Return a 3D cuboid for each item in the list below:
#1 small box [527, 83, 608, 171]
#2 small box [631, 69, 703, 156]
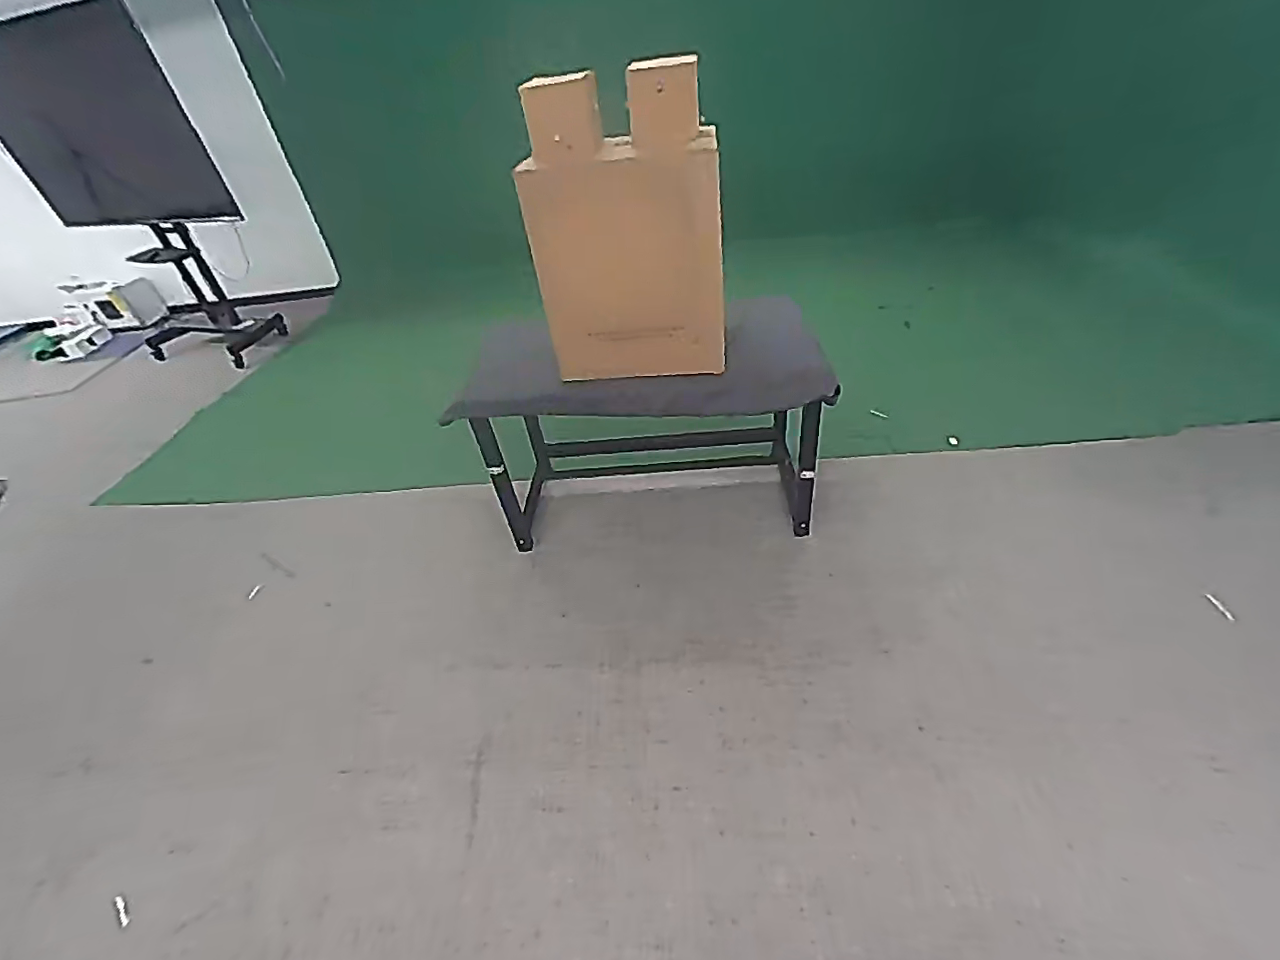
[{"bbox_3d":[-0.186,-0.948,1.454,0.168,0.176,0.179,-2,42,9],"label":"small box"},{"bbox_3d":[0.078,-0.974,1.435,0.179,0.176,0.168,0,42,7],"label":"small box"}]
